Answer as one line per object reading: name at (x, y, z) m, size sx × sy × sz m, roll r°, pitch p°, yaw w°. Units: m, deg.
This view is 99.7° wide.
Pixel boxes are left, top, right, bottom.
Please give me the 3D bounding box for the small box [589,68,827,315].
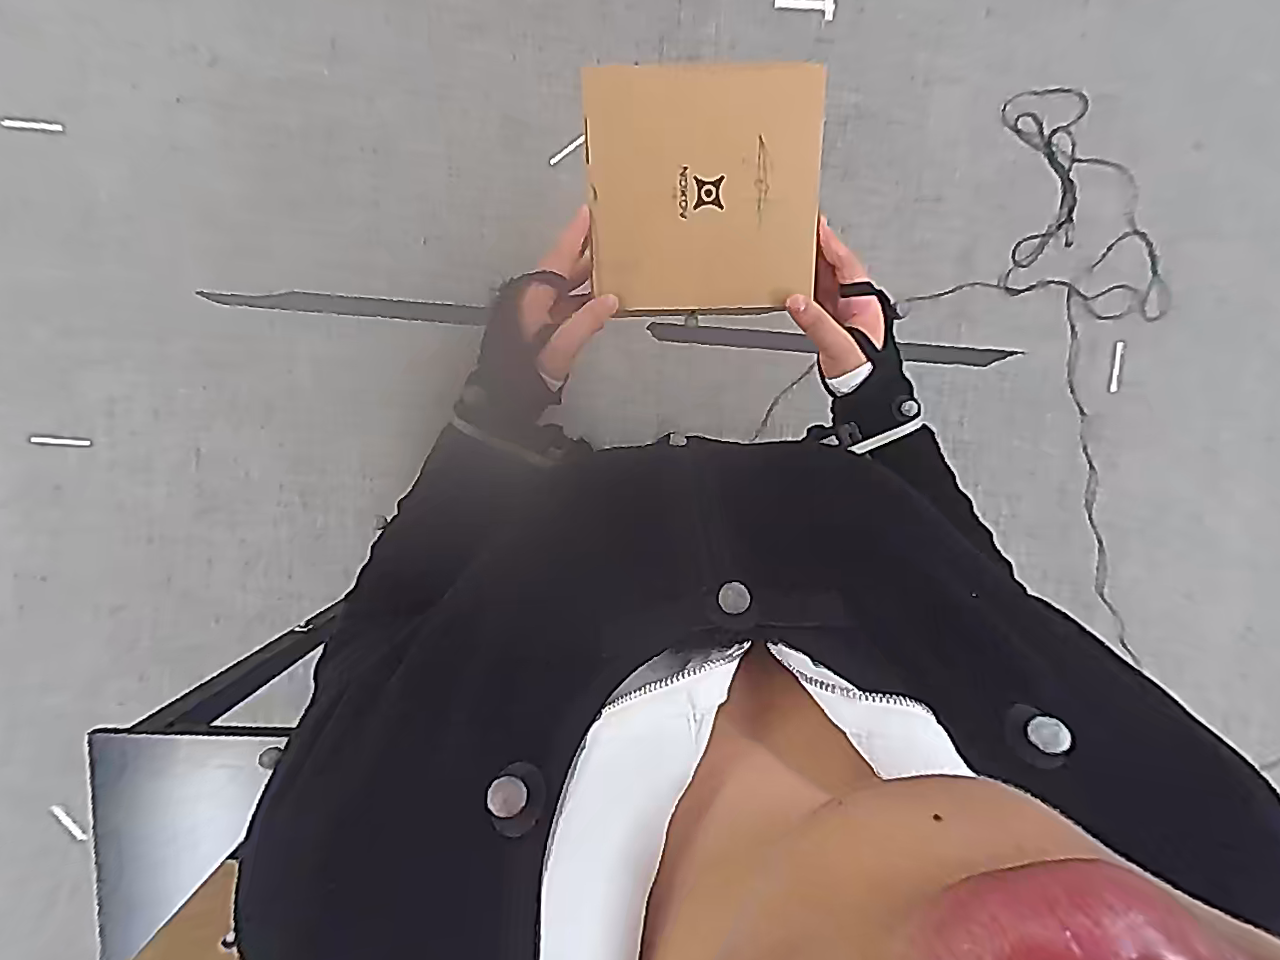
small box at (0.050, -0.240, 0.490) m, size 0.179 × 0.176 × 0.168 m, roll -2°, pitch 106°, yaw -1°
